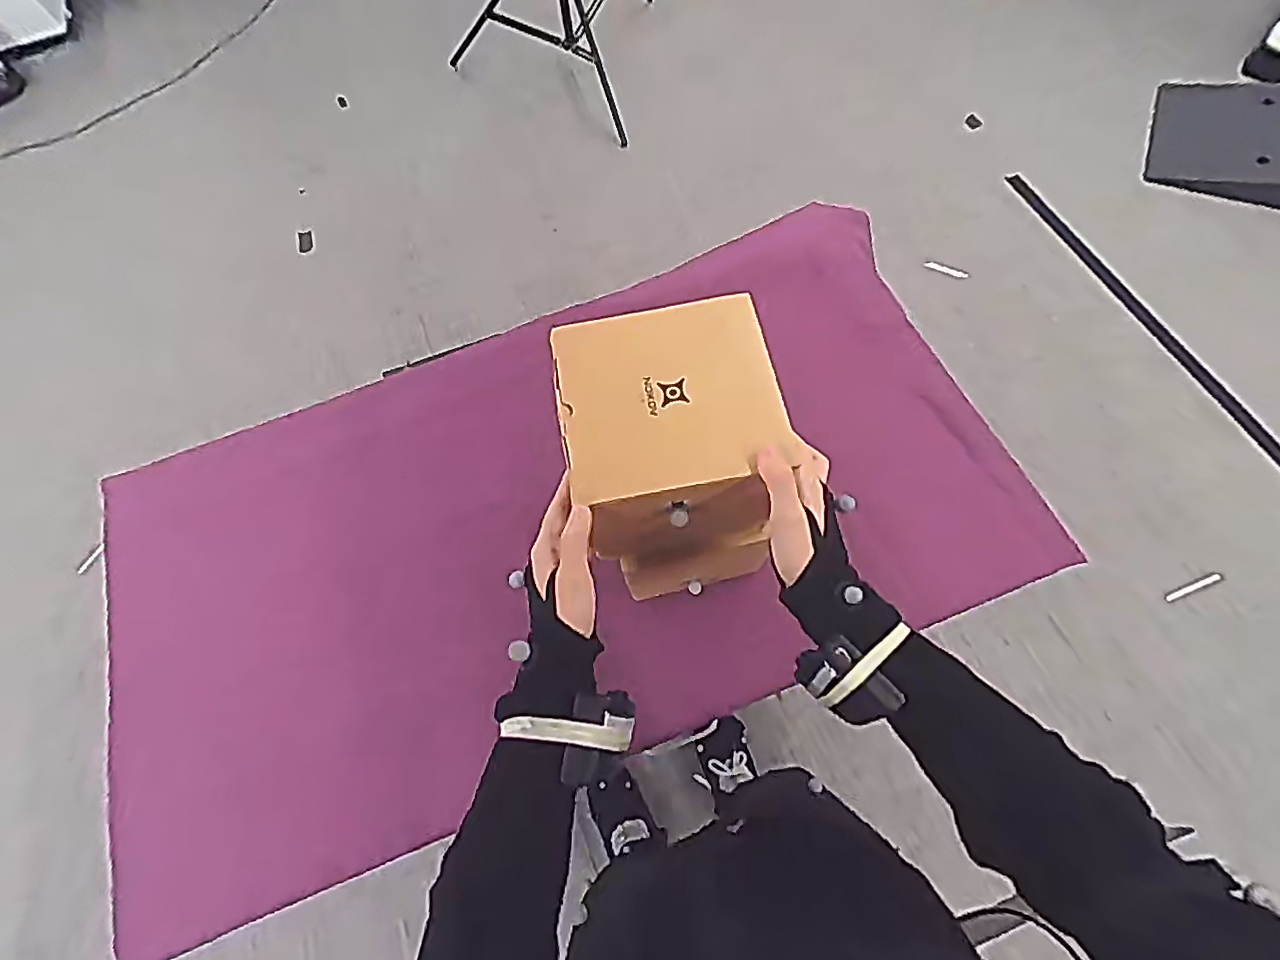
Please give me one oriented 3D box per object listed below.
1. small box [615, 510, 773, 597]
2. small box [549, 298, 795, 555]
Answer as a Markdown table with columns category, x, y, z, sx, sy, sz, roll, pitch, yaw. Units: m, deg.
| category | x | y | z | sx | sy | sz | roll | pitch | yaw |
| --- | --- | --- | --- | --- | --- | --- | --- | --- | --- |
| small box | 0.045 | 0.029 | 0.655 | 0.168 | 0.176 | 0.179 | -13 | 69 | -1 |
| small box | 0.024 | -0.038 | 0.507 | 0.179 | 0.176 | 0.168 | -11 | 68 | 1 |
